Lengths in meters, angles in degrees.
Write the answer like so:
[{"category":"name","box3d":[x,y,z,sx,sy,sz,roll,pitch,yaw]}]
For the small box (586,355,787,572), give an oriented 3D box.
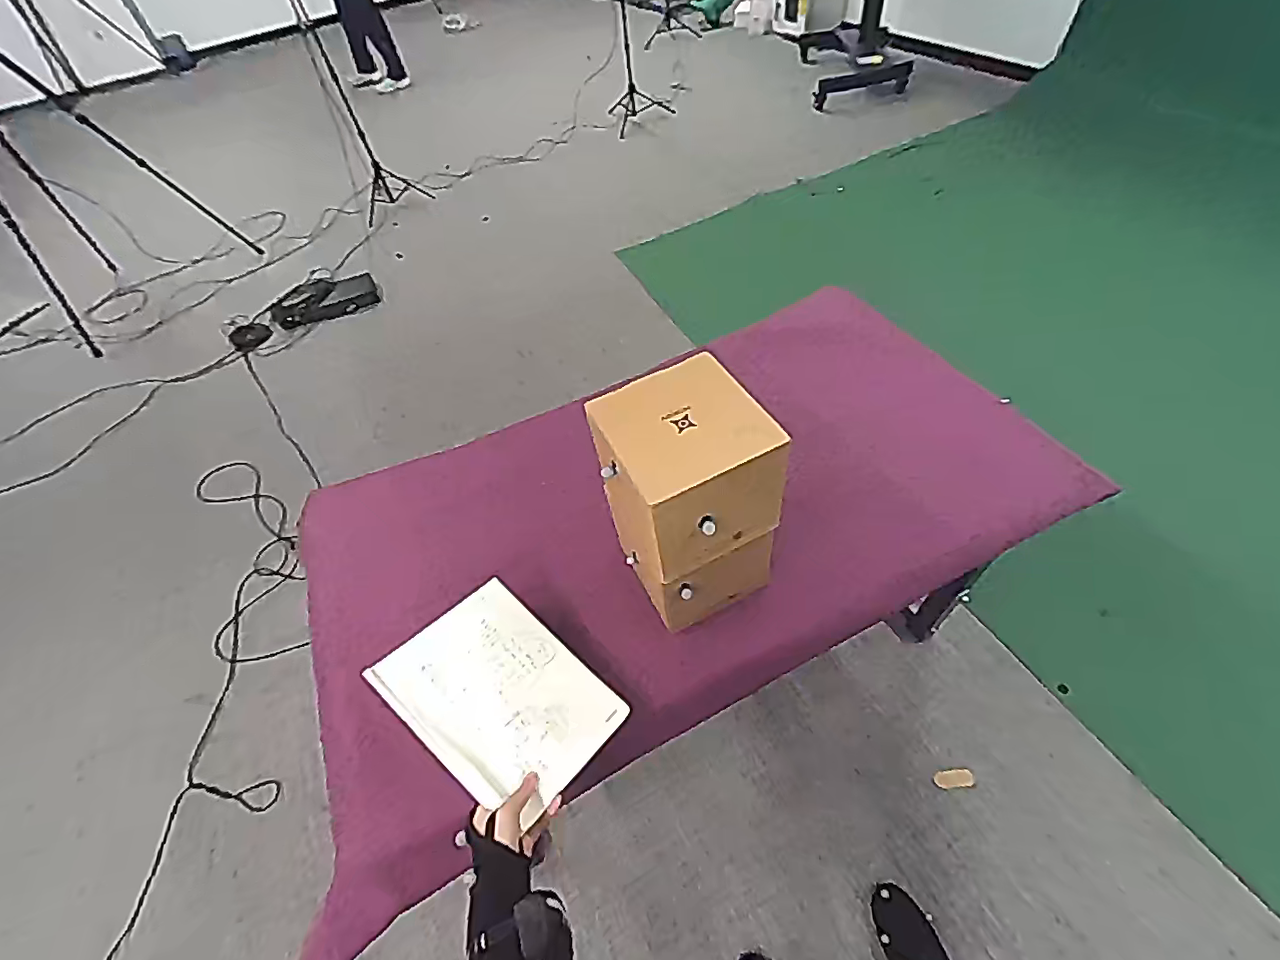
[{"category":"small box","box3d":[0.056,-0.012,0.652,0.168,0.176,0.179,-25,51,-11]}]
